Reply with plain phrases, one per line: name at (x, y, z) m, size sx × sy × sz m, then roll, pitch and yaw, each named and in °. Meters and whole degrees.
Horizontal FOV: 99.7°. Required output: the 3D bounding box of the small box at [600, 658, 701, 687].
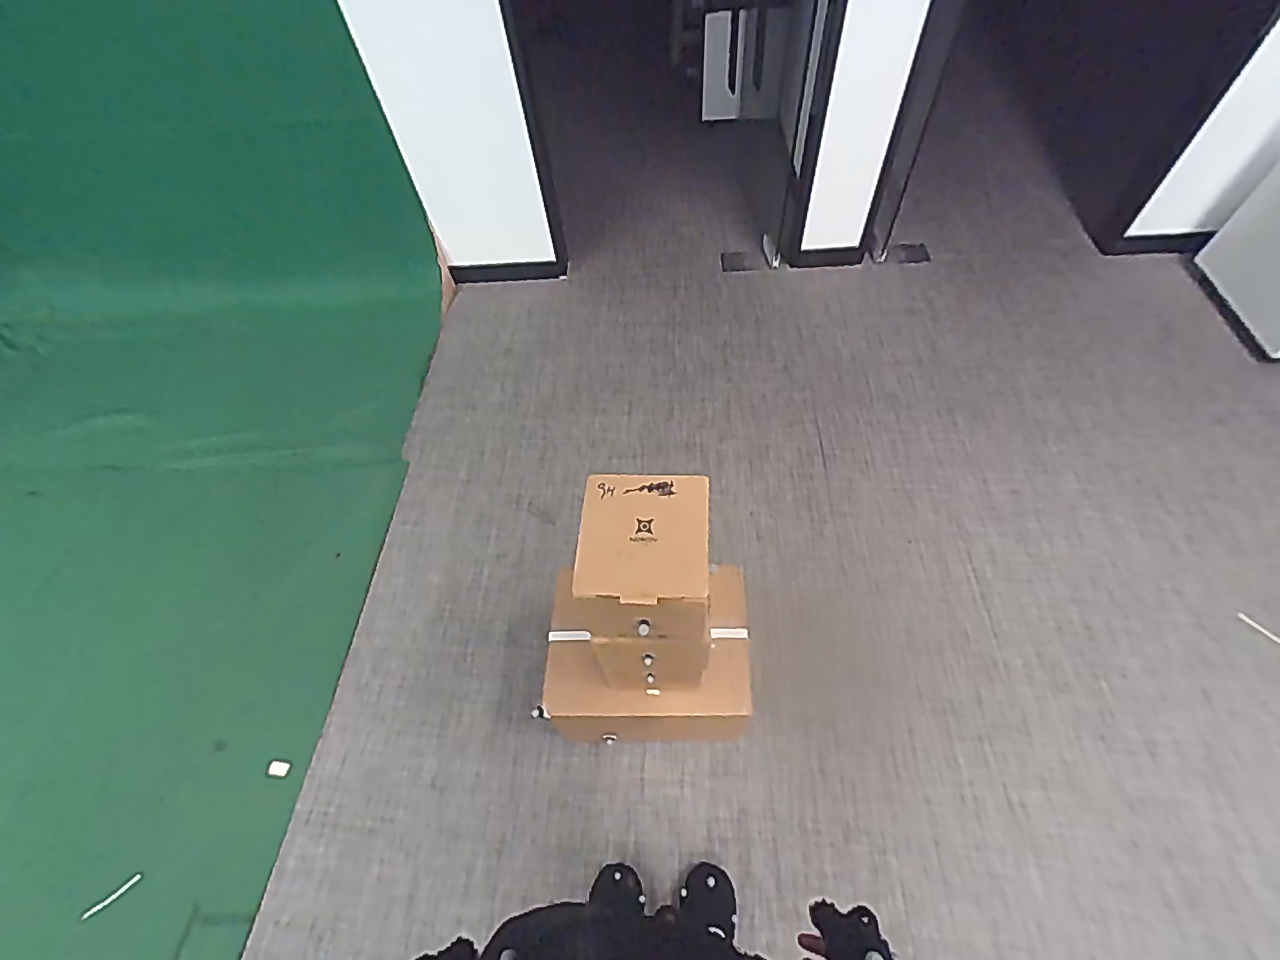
small box at (0.025, 0.290, 1.025) m, size 0.179 × 0.176 × 0.168 m, roll 0°, pitch 58°, yaw 4°

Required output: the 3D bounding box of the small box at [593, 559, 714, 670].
small box at (0.021, 0.206, 0.884) m, size 0.179 × 0.176 × 0.168 m, roll -3°, pitch 58°, yaw 2°

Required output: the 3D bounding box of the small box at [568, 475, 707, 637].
small box at (0.008, 0.110, 0.751) m, size 0.168 × 0.176 × 0.179 m, roll 1°, pitch 59°, yaw 7°
